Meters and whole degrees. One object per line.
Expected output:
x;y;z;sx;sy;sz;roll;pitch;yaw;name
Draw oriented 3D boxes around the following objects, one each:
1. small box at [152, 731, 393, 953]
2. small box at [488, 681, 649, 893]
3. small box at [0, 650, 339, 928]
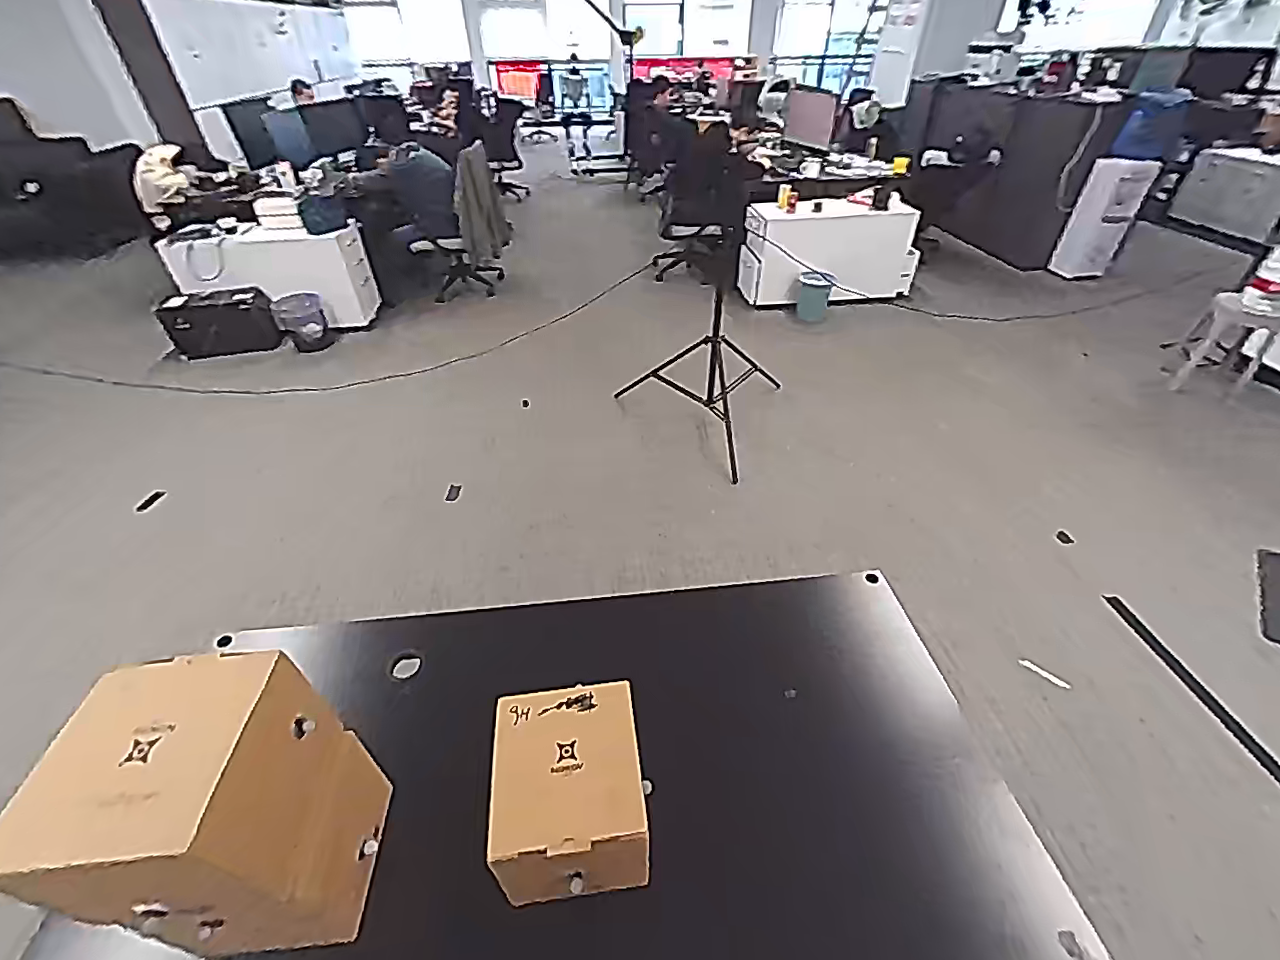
-0.414;0.416;0.624;0.179;0.176;0.168;-3;40;-4;small box
-0.081;0.378;0.665;0.168;0.176;0.179;-6;40;-5;small box
-0.419;0.292;0.519;0.168;0.176;0.179;-6;41;-4;small box
